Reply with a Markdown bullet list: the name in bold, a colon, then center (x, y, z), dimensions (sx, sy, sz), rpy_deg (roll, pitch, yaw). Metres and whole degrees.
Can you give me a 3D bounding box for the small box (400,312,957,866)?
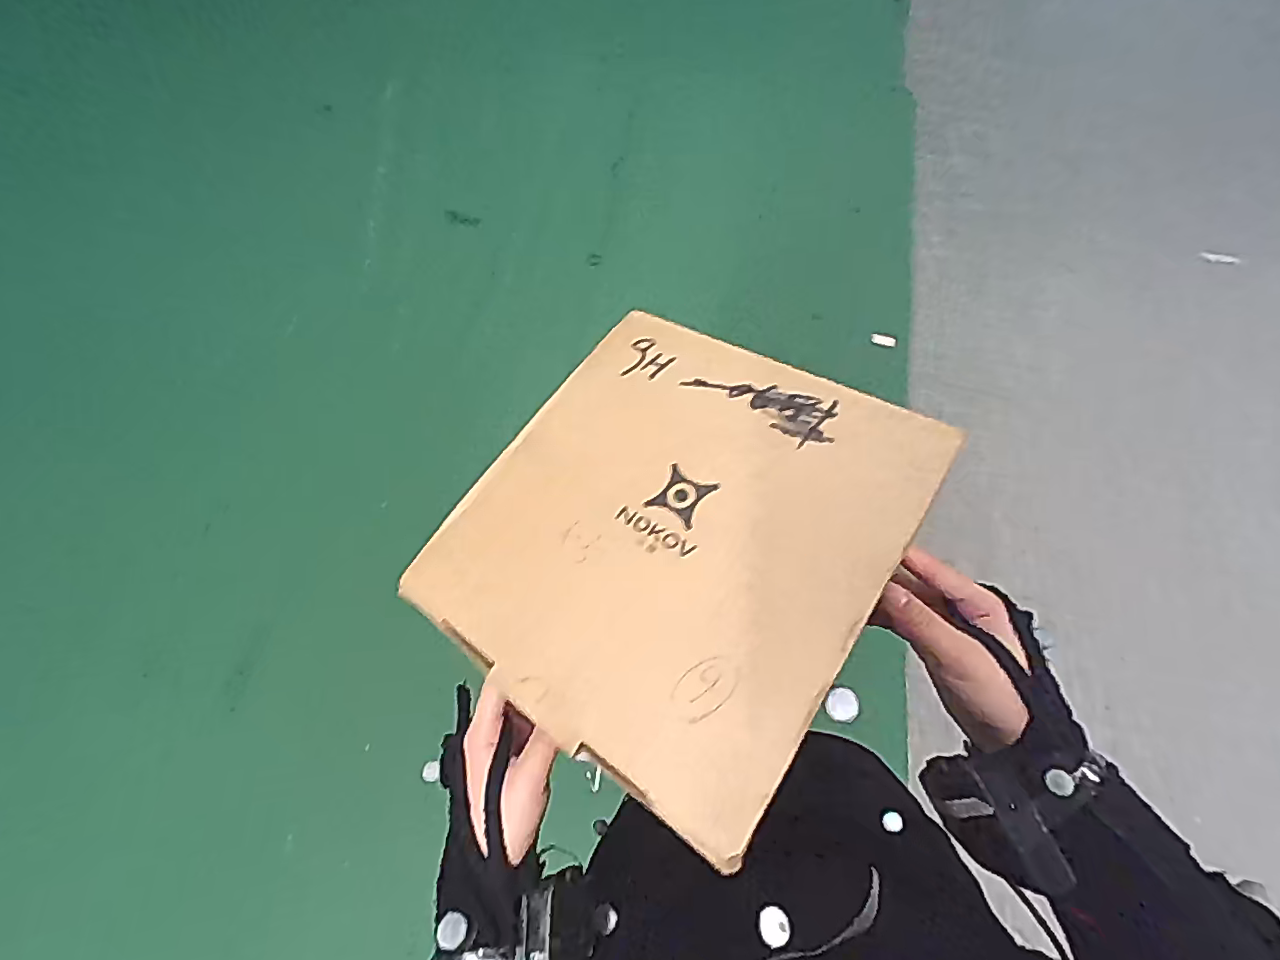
- **small box**: center (0.027, 0.053, 0.284), dimensions (0.168, 0.176, 0.179), rpy_deg (30, 72, 27)
